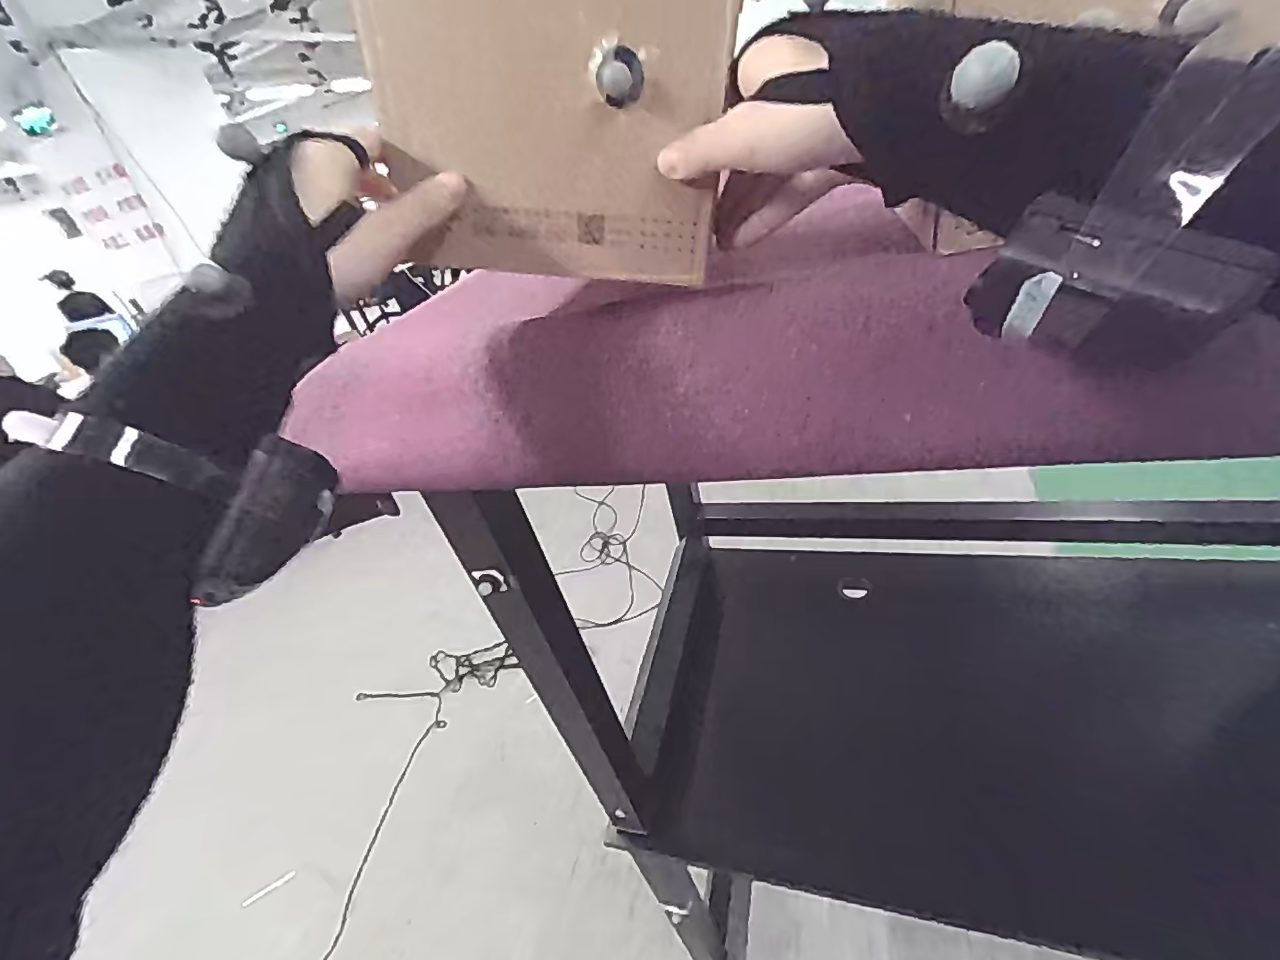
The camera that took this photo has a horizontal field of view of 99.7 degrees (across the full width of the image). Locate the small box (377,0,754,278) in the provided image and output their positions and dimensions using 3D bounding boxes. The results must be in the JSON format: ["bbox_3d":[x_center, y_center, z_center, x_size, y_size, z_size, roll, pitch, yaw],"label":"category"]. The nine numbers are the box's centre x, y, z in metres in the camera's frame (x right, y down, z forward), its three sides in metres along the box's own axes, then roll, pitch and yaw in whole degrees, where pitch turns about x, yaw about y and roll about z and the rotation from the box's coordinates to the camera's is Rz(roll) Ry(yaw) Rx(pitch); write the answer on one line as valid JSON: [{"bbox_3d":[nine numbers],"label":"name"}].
[{"bbox_3d":[-0.024,-0.226,0.307,0.168,0.176,0.179,7,38,6],"label":"small box"}]

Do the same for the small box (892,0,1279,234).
[{"bbox_3d":[0.228,-0.235,0.269,0.168,0.176,0.179,-3,35,17],"label":"small box"}]
